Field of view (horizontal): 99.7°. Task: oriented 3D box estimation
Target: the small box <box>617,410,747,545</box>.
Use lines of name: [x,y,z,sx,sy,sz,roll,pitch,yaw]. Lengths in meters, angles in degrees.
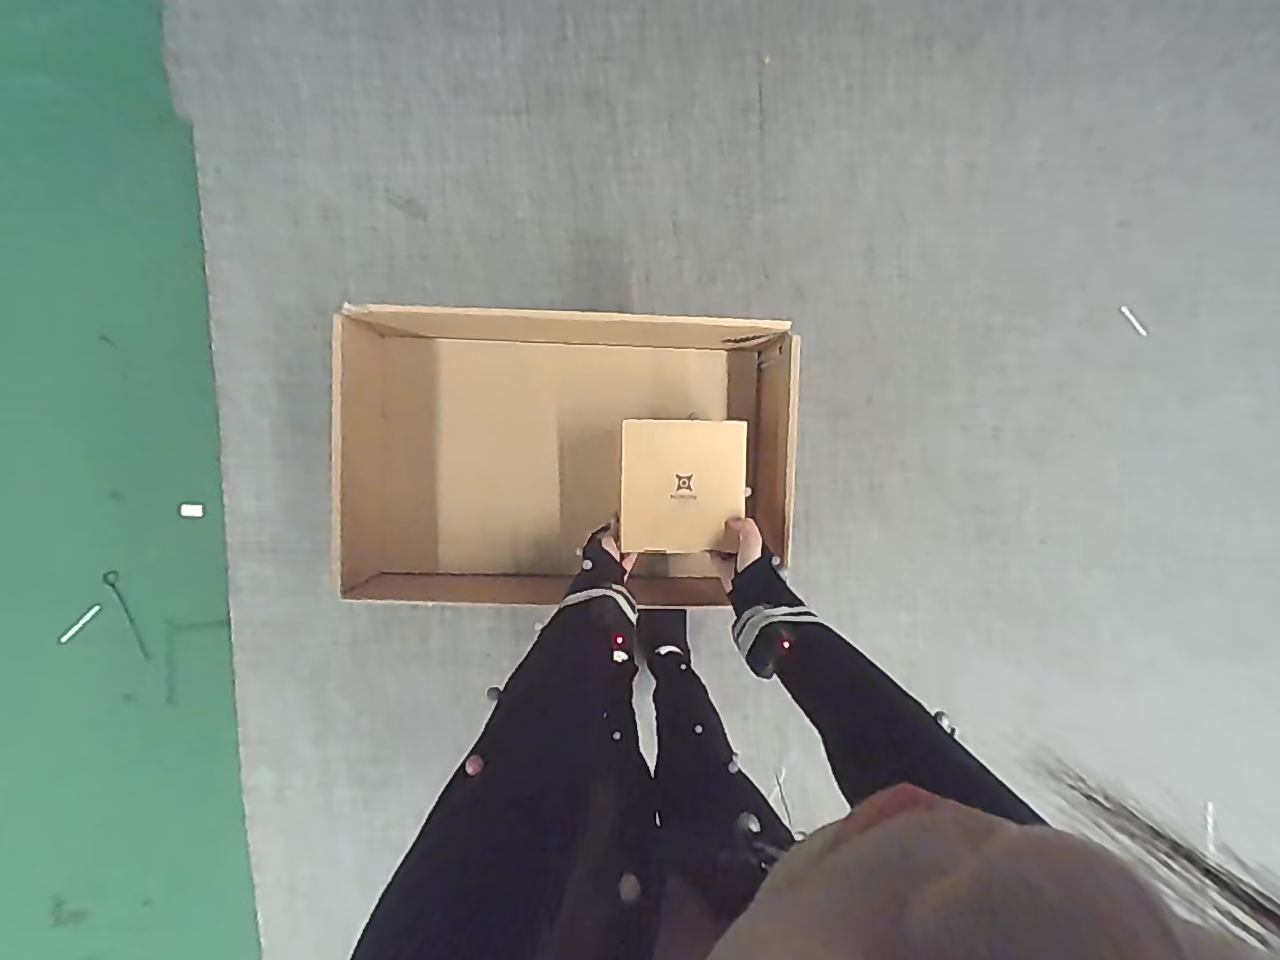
small box: [0.051,-0.006,0.783,0.168,0.176,0.179,1,94,-3]
